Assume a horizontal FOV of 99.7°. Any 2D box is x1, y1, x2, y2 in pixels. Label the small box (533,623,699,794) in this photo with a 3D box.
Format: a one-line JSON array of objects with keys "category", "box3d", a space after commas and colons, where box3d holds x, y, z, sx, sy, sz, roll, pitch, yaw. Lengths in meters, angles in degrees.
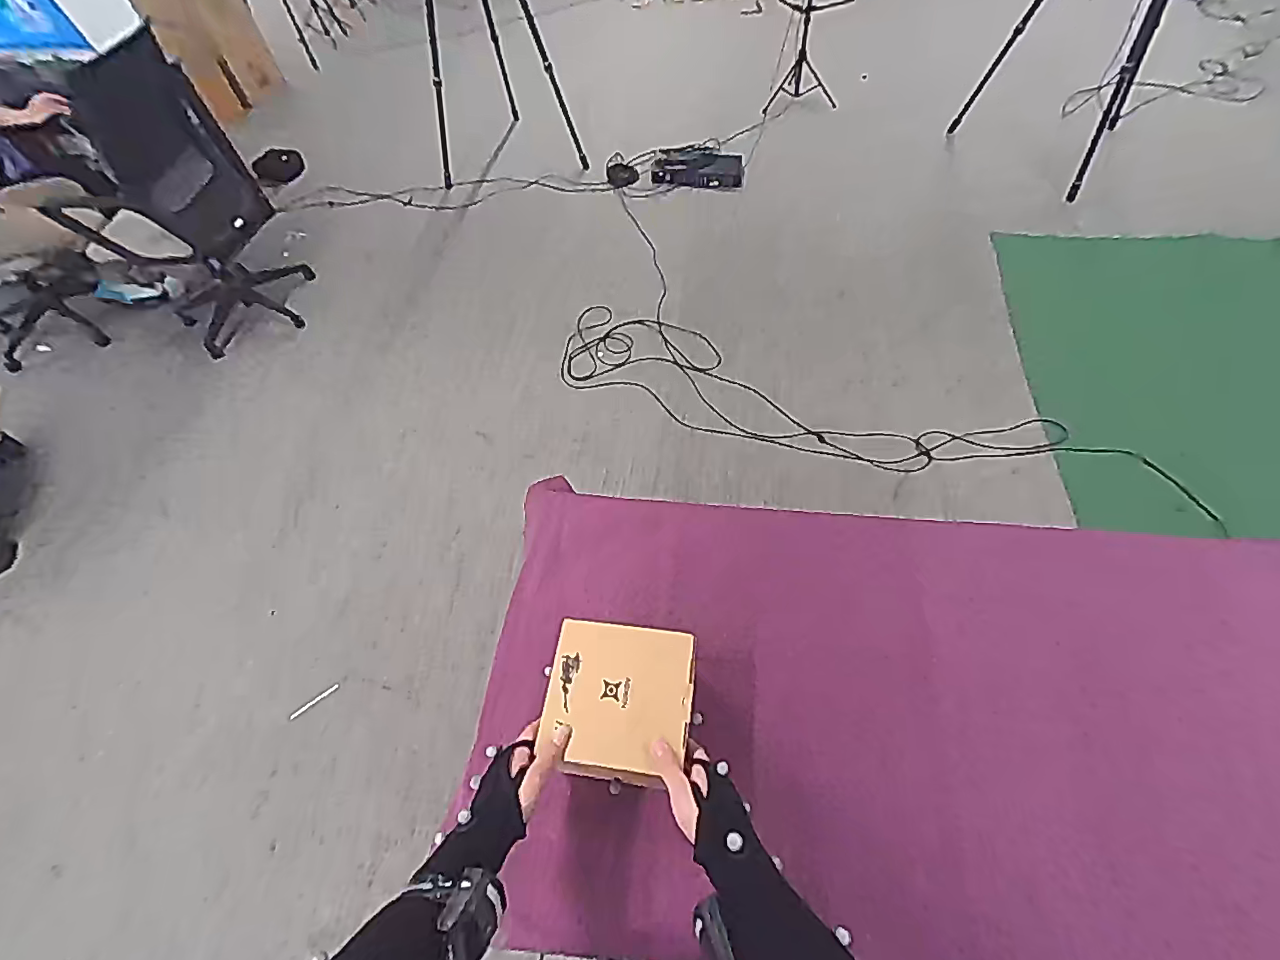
[{"category": "small box", "box3d": [-0.021, 0.305, 0.712, 0.179, 0.176, 0.168, 6, 56, 8]}]
